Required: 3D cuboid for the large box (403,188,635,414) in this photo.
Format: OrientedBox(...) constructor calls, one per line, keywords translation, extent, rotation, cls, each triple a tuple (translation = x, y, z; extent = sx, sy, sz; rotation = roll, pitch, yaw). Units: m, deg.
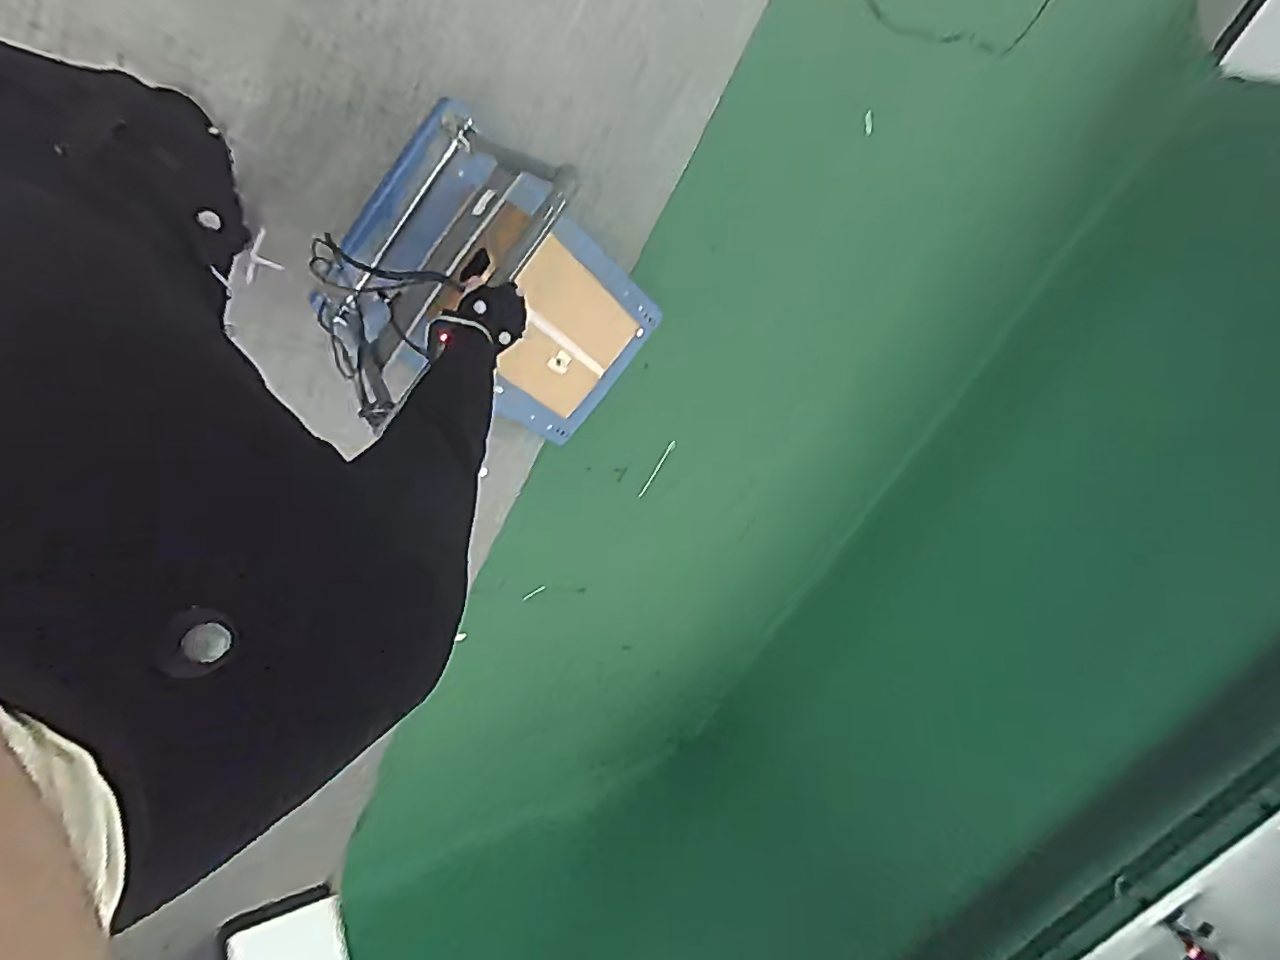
OrientedBox(translation=(-0.296, -0.434, 1.350), extent=(0.320, 0.320, 0.408), rotation=(-50, 142, 7), cls="large box")
